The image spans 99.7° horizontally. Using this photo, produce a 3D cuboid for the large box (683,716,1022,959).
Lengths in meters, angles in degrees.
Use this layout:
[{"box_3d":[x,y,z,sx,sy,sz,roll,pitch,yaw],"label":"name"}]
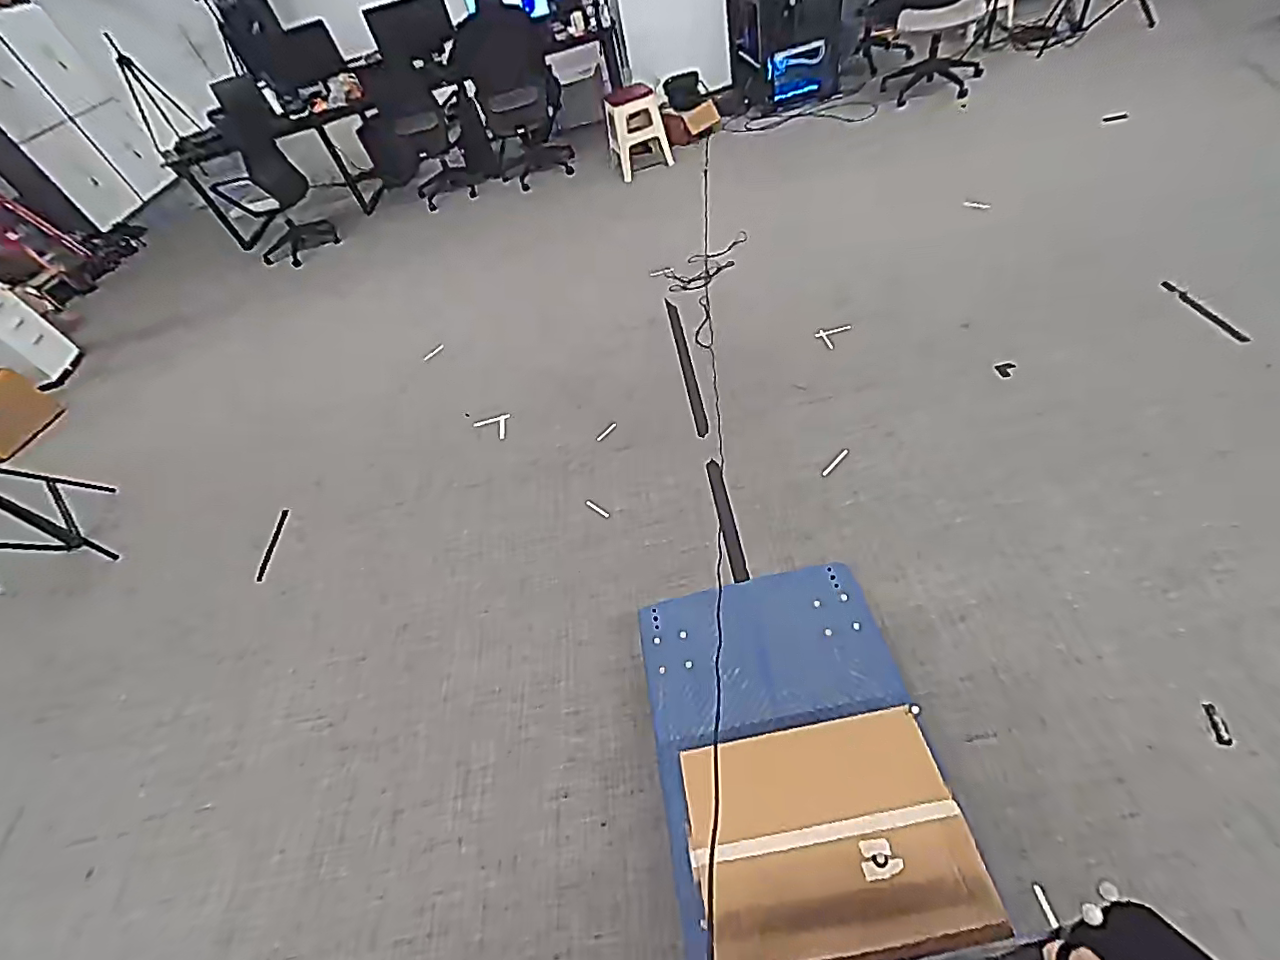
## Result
[{"box_3d":[0.314,0.650,0.914,0.408,0.320,0.320,-14,47,4],"label":"large box"}]
